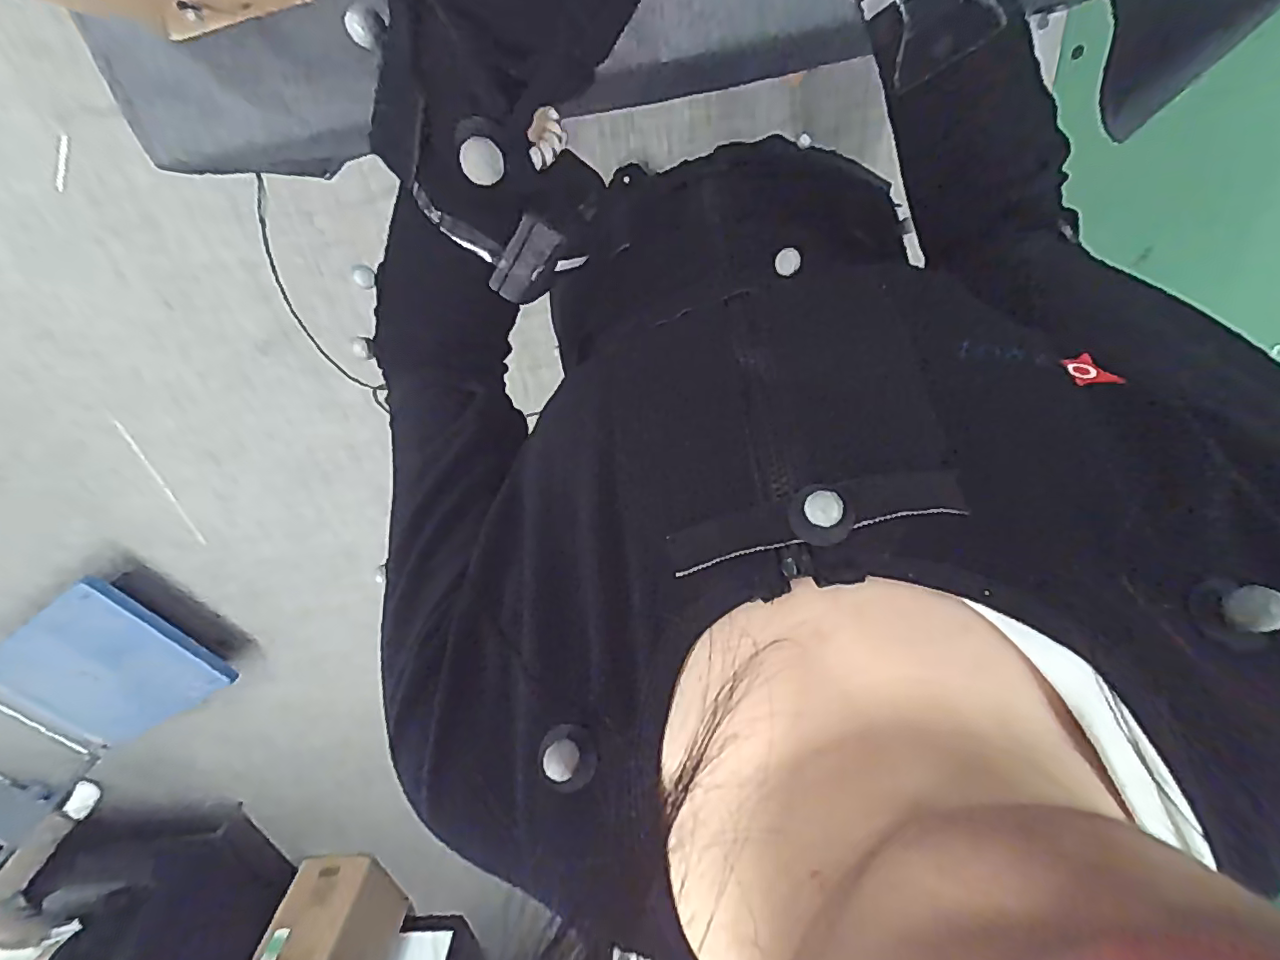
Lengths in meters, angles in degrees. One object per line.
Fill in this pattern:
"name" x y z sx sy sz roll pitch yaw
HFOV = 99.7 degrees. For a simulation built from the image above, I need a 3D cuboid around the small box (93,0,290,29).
"small box" -0.417 -0.499 0.426 0.168 0.176 0.179 -9 120 8
